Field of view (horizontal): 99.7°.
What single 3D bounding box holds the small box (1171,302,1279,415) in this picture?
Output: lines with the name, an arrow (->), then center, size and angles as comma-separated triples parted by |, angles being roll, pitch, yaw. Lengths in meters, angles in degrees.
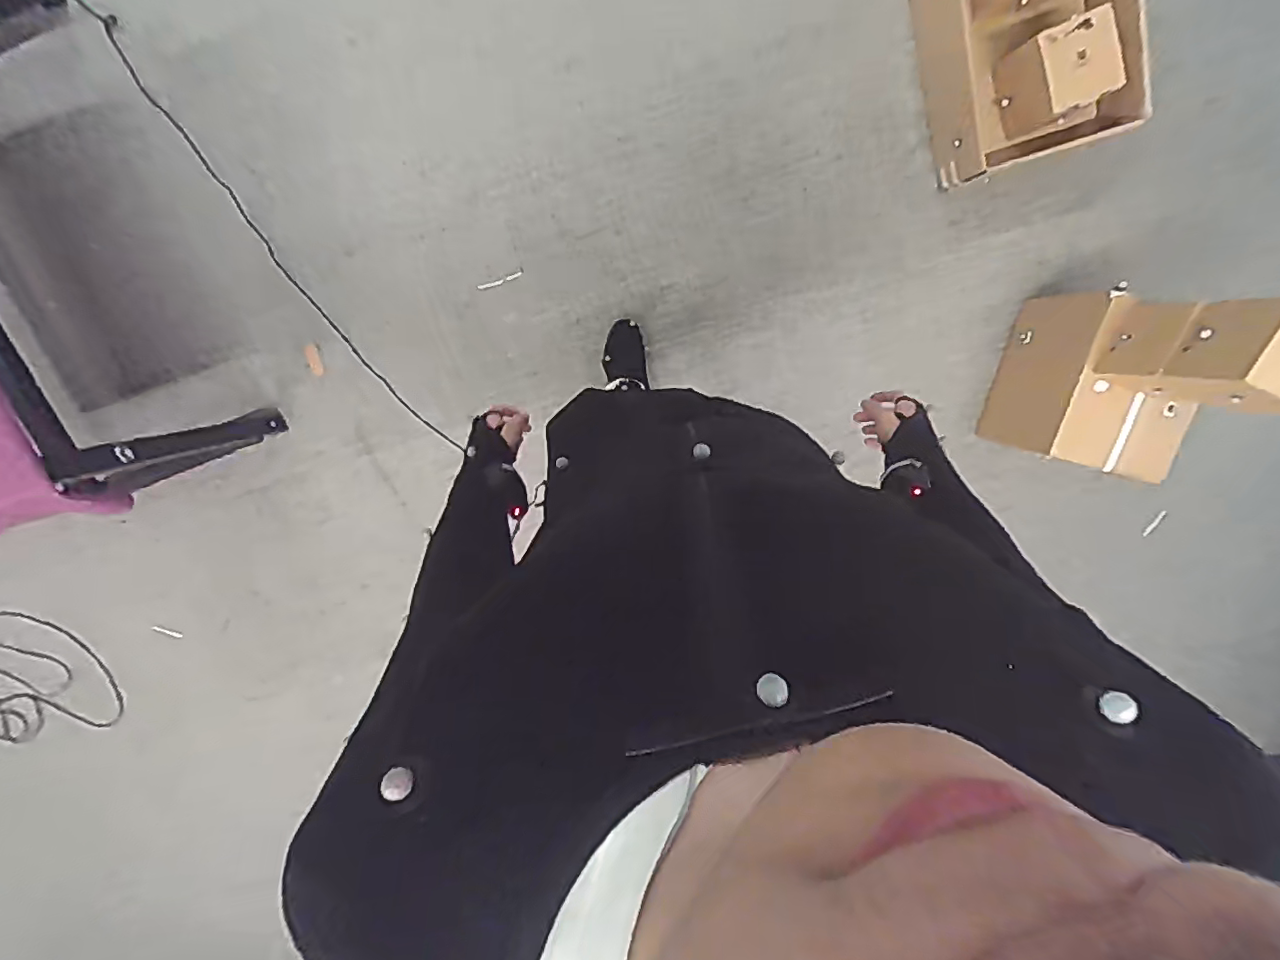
small box -> 1.184, -0.227, 1.013 | 0.179, 0.176, 0.168 | 23, 103, -4

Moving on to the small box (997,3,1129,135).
small box -> 0.988, -0.949, 1.275 | 0.168, 0.176, 0.179 | -22, 103, 5
